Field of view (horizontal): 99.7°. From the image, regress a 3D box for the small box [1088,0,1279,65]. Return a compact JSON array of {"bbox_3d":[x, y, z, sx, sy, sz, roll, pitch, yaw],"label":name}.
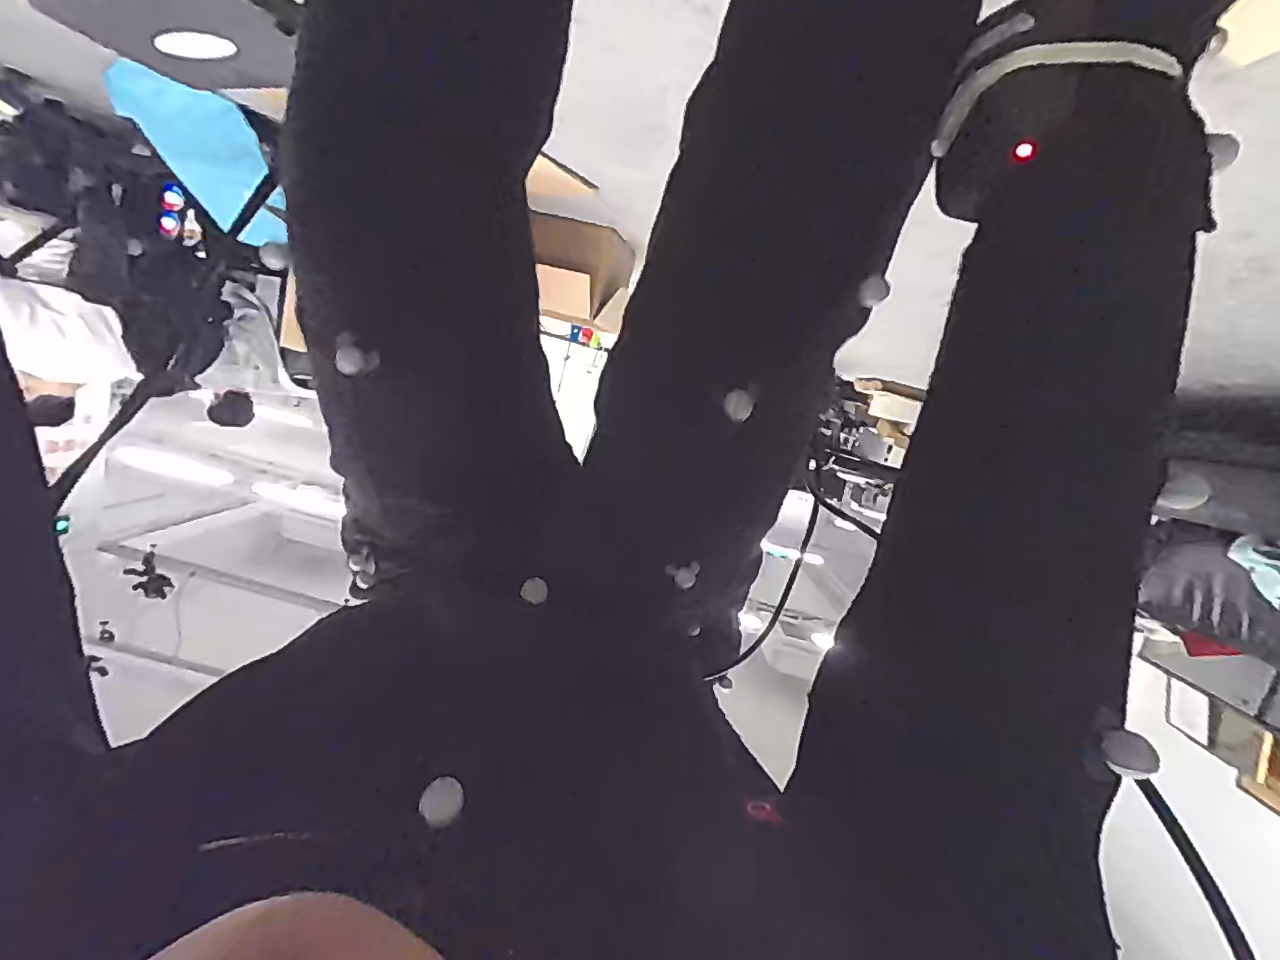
[{"bbox_3d":[0.354,-0.356,0.256,0.179,0.176,0.168,12,-170,-12],"label":"small box"}]
